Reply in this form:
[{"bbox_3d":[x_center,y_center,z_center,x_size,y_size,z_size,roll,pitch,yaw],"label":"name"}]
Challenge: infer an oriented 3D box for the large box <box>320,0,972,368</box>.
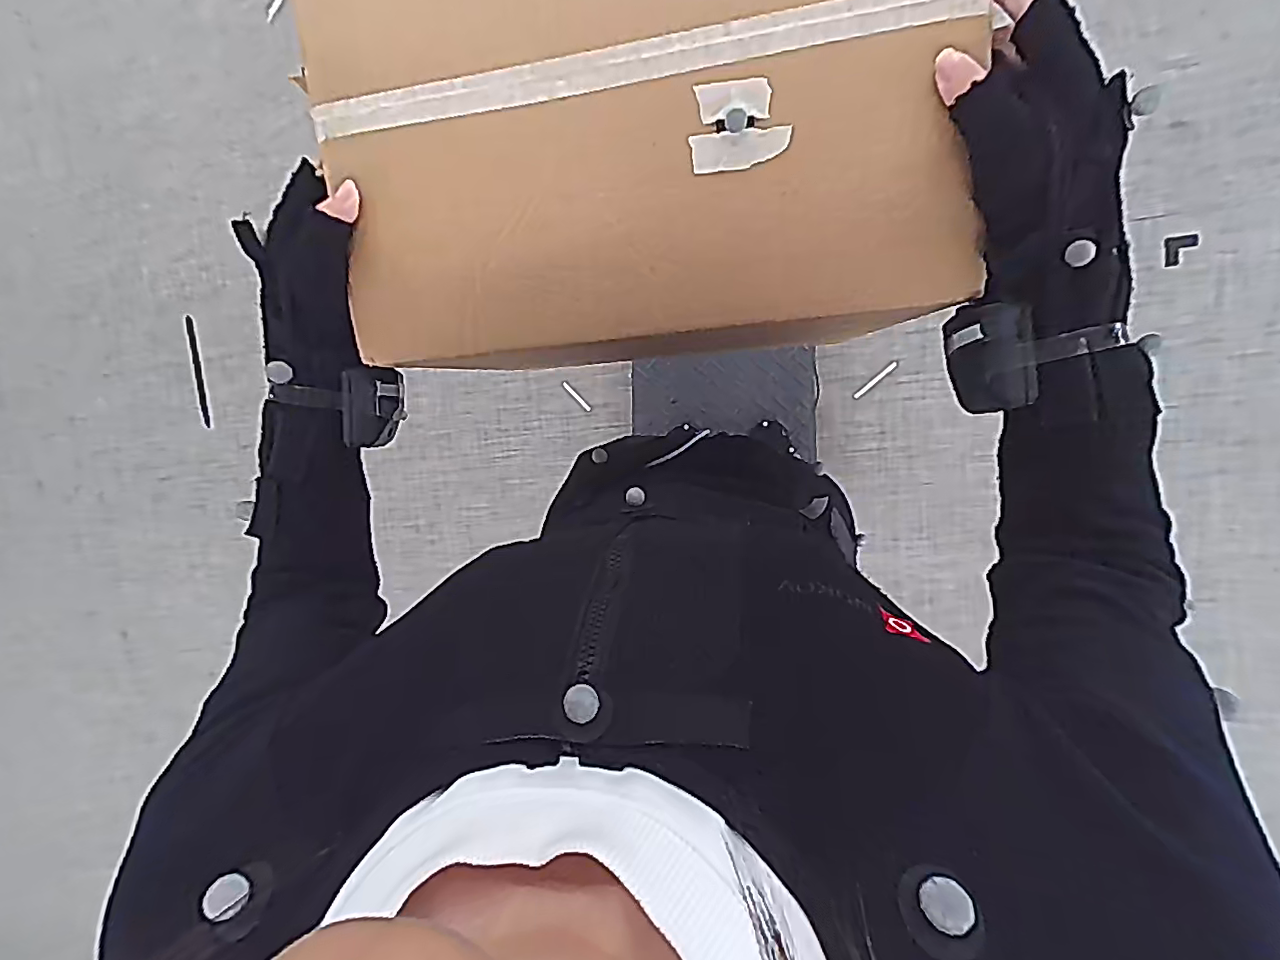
[{"bbox_3d":[0.012,-0.281,0.483,0.408,0.320,0.320,-4,101,9],"label":"large box"}]
